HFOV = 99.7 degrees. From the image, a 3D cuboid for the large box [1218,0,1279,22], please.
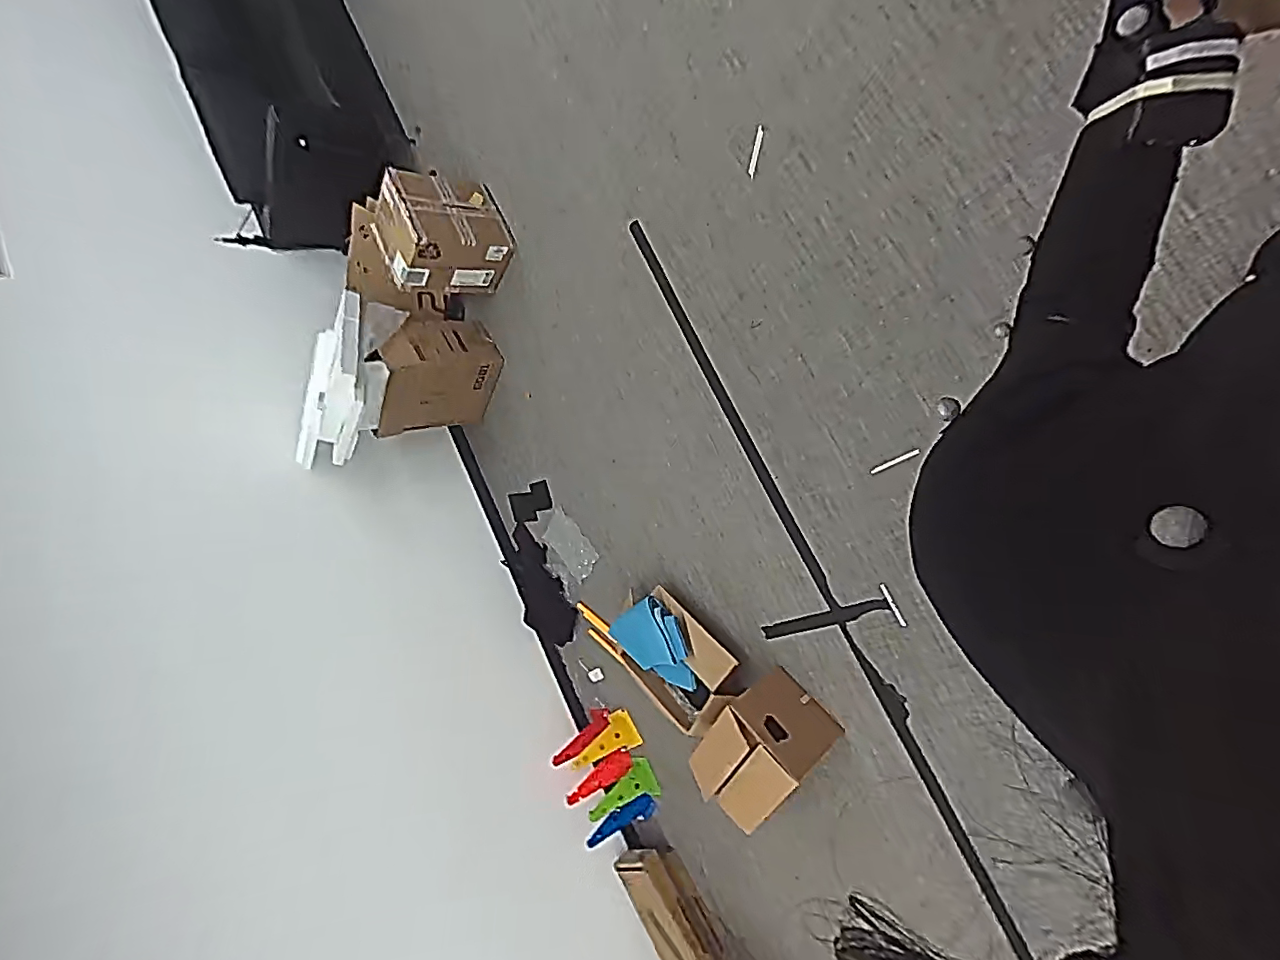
[{"bbox_3d":[0.611,-0.494,0.268,0.408,0.320,0.320,14,130,41],"label":"large box"}]
